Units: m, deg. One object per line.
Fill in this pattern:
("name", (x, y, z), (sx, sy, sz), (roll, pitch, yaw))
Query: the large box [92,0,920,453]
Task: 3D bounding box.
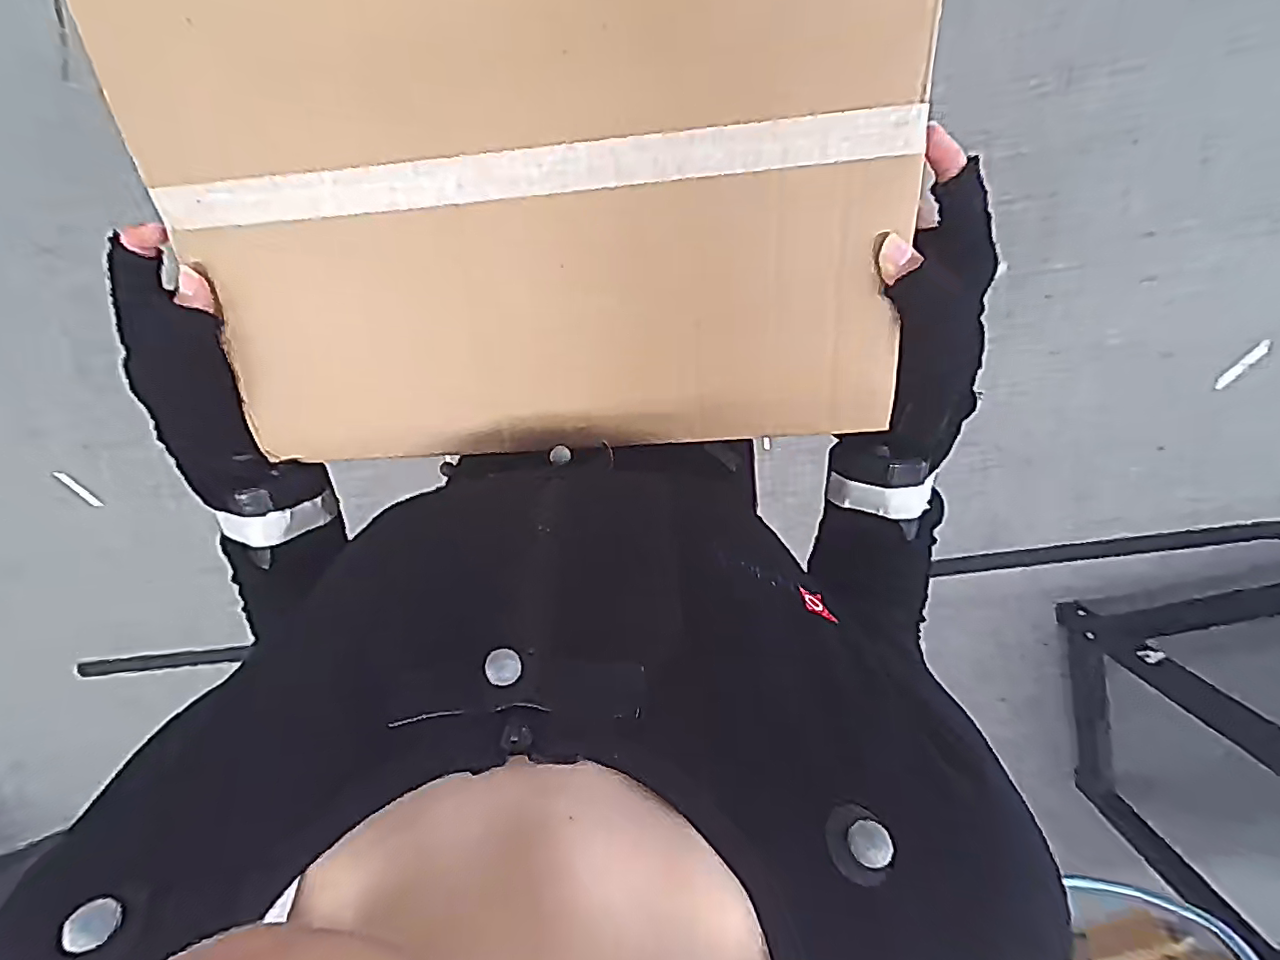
("large box", (-0.053, -0.234, 0.420), (0.408, 0.320, 0.320), (-3, 116, 5))
